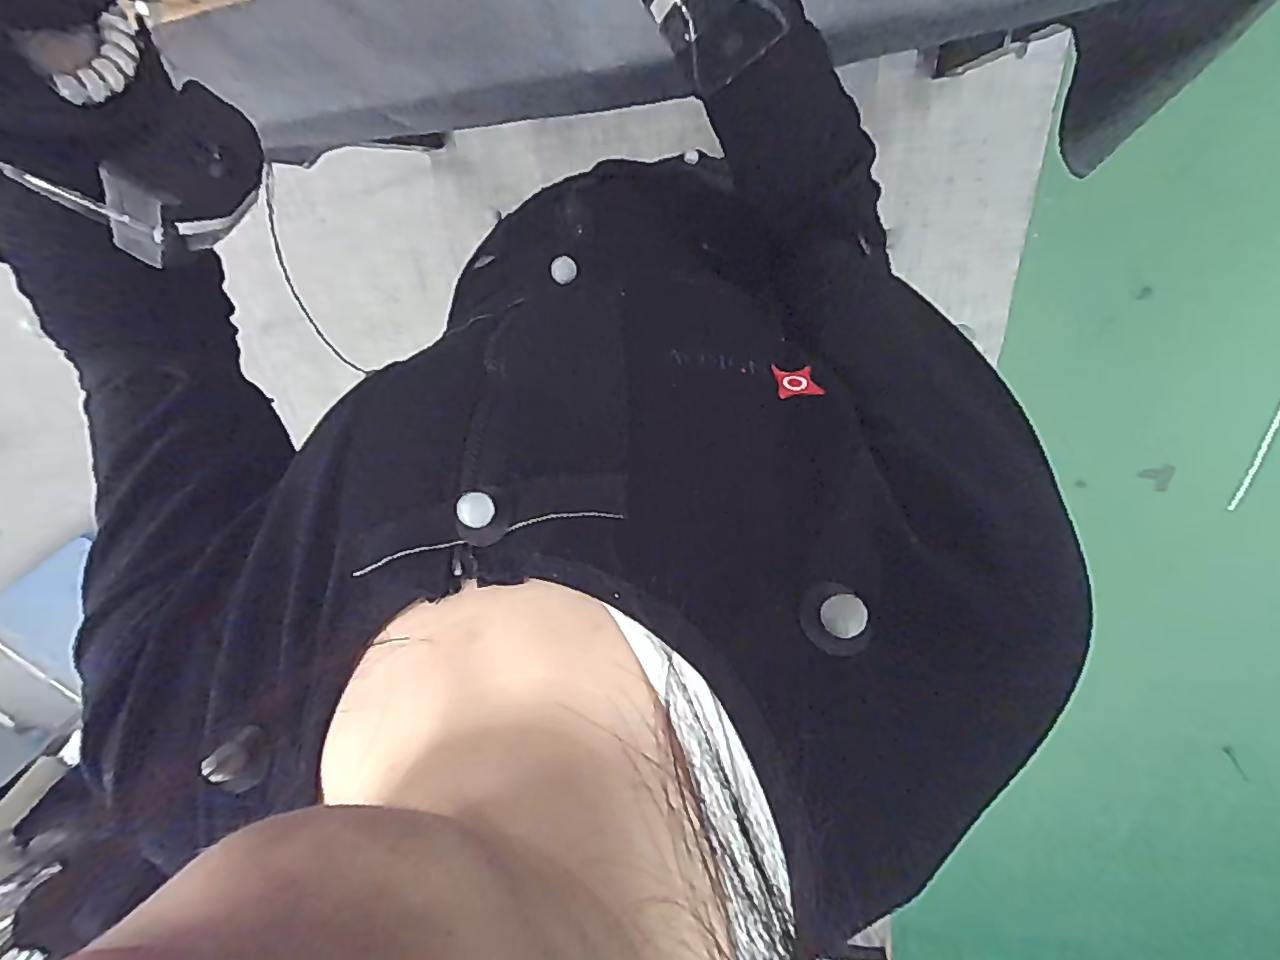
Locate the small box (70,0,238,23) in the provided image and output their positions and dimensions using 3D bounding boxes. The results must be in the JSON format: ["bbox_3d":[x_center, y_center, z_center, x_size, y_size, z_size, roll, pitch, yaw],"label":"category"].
[{"bbox_3d":[-0.489,-0.532,0.457,0.168,0.176,0.179,-4,119,10],"label":"small box"}]
